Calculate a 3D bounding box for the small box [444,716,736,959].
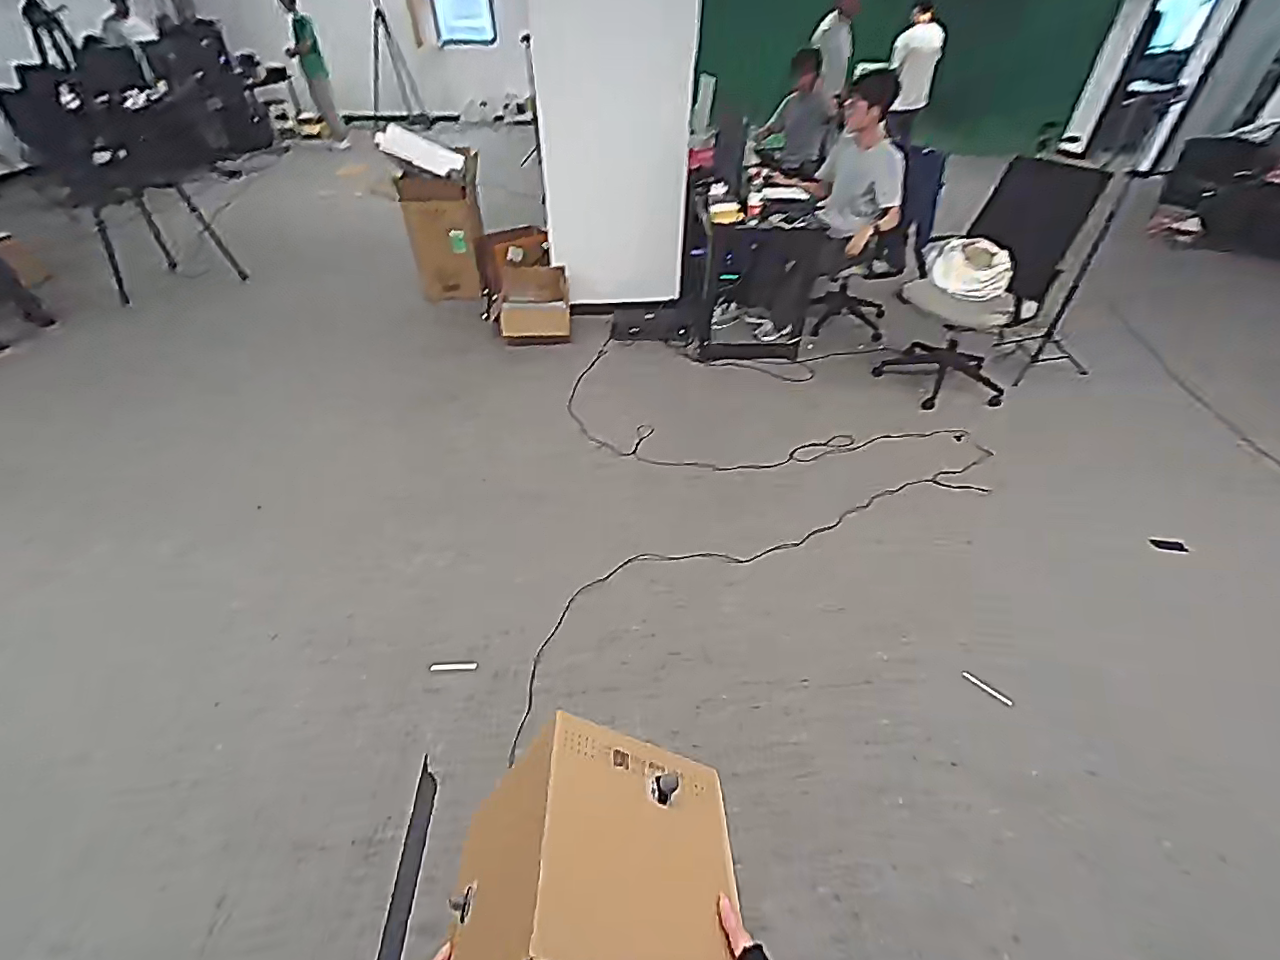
[{"bbox_3d":[-0.040,0.331,0.435,0.168,0.179,0.176,28,24,-17],"label":"small box"}]
